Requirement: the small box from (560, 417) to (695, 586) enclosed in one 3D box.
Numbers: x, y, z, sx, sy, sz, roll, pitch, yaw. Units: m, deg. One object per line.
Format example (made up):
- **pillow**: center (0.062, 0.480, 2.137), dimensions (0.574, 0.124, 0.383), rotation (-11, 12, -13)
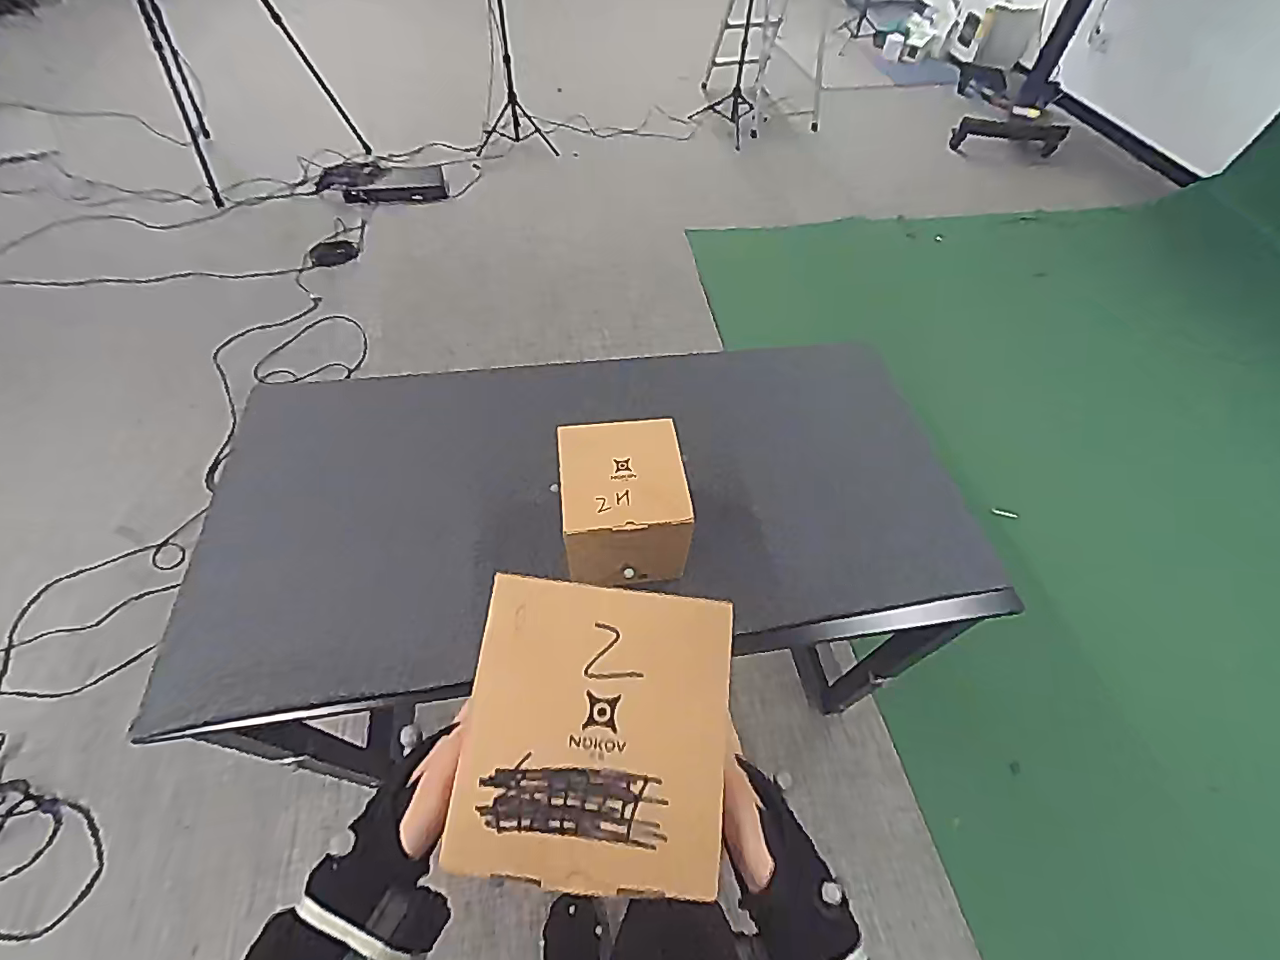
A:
- **small box**: center (-0.026, 0.032, 0.781), dimensions (0.168, 0.176, 0.179), rotation (-6, 55, -6)
